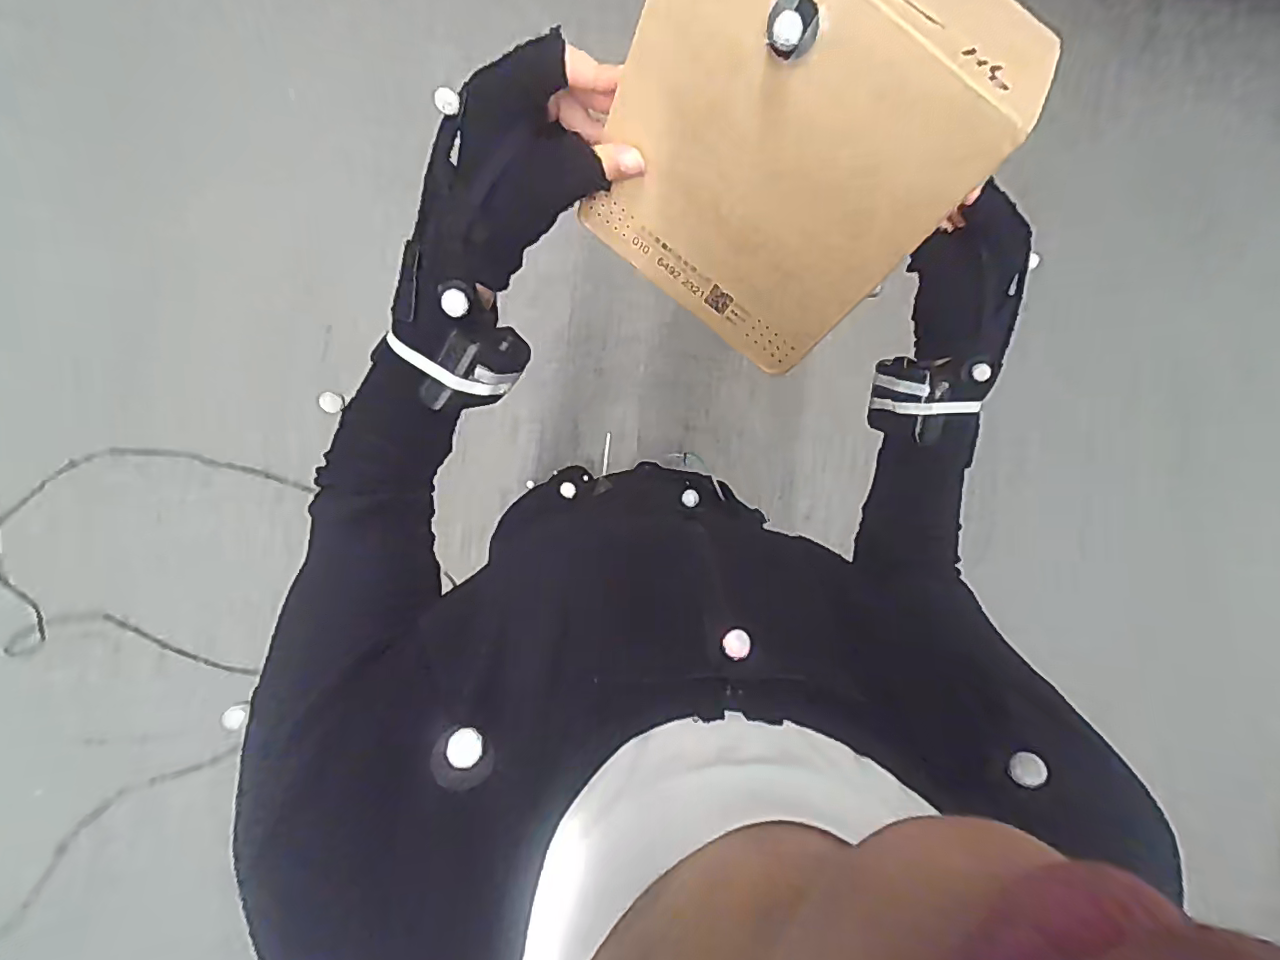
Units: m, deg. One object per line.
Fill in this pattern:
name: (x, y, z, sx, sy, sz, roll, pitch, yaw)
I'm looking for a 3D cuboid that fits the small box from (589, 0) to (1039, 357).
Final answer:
small box: (0.092, -0.212, 0.324, 0.168, 0.176, 0.179, 37, 56, -1)
